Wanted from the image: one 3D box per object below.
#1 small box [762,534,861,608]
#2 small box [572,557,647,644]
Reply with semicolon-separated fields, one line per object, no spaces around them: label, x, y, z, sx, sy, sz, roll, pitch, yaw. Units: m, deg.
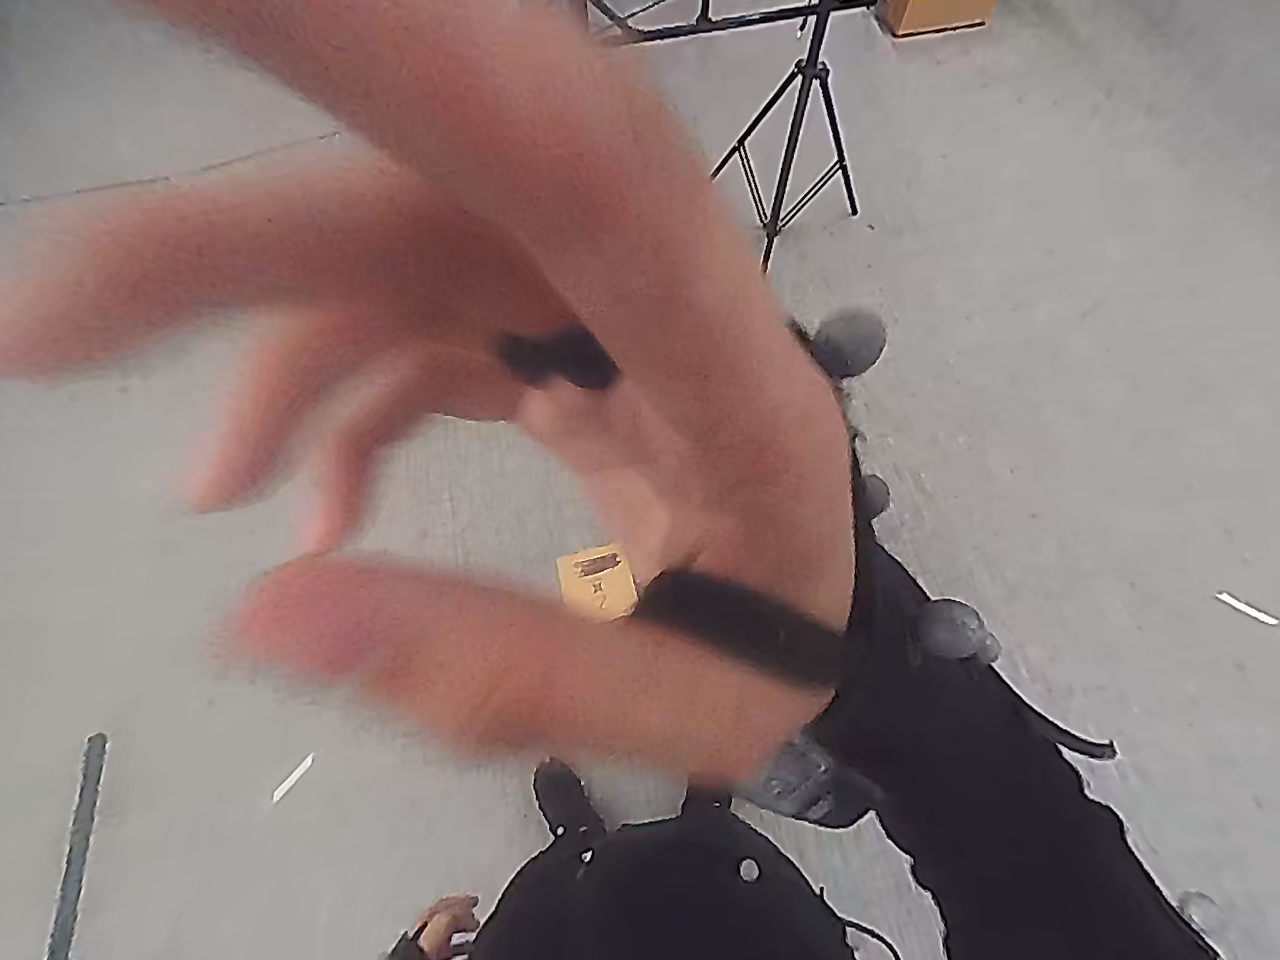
small box;0.412;0.209;1.327;0.168;0.176;0.179;-10;66;-3
small box;-0.080;0.332;1.470;0.168;0.176;0.179;-14;67;-3
